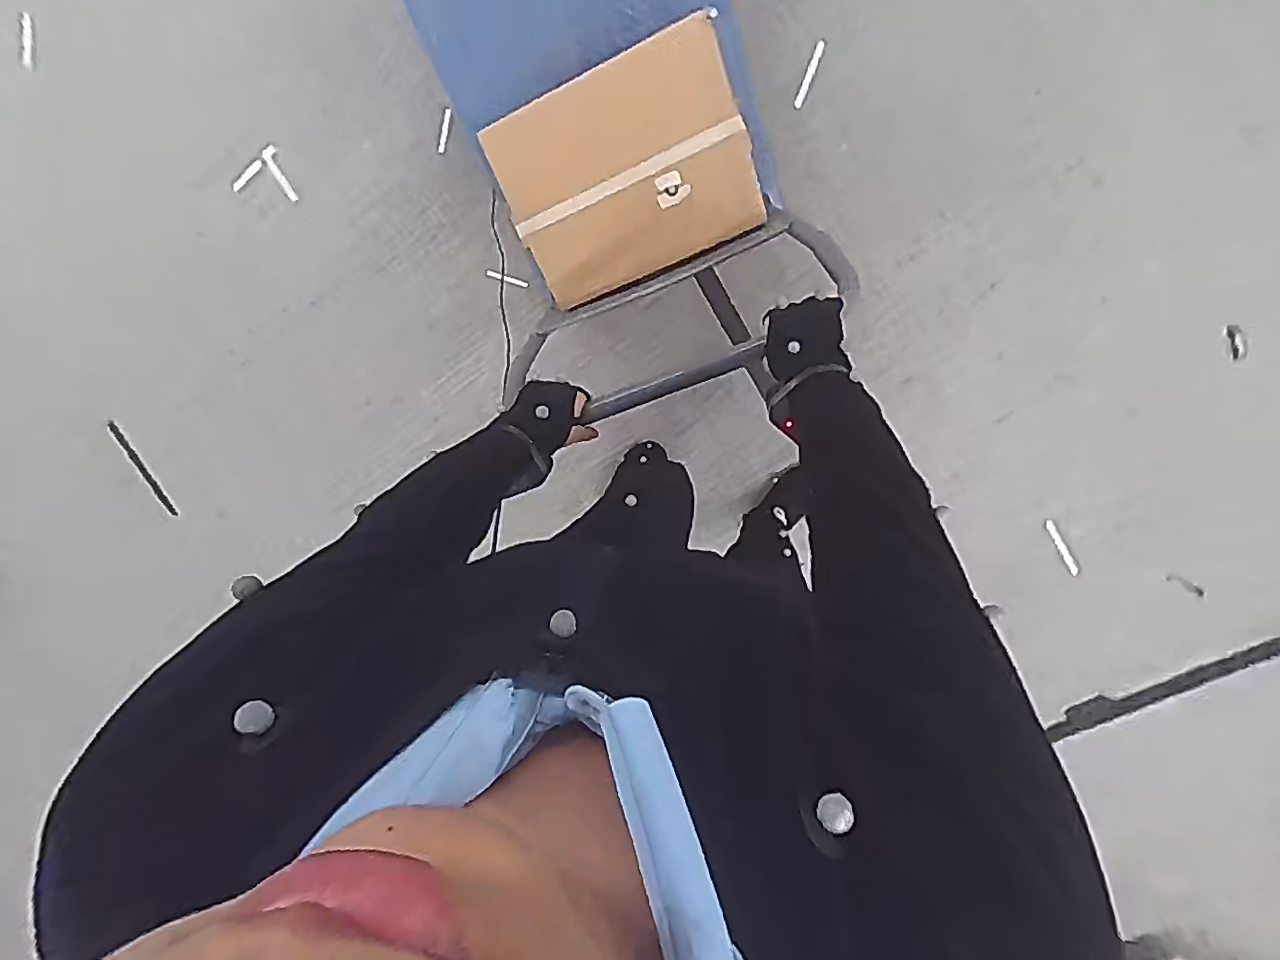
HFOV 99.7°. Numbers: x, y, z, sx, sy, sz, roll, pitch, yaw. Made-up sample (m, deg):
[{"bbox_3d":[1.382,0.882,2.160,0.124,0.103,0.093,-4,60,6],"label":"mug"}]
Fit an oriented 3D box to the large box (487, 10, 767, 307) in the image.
[{"bbox_3d":[-0.013,-0.586,1.052,0.408,0.320,0.320,-20,116,13],"label":"large box"}]
